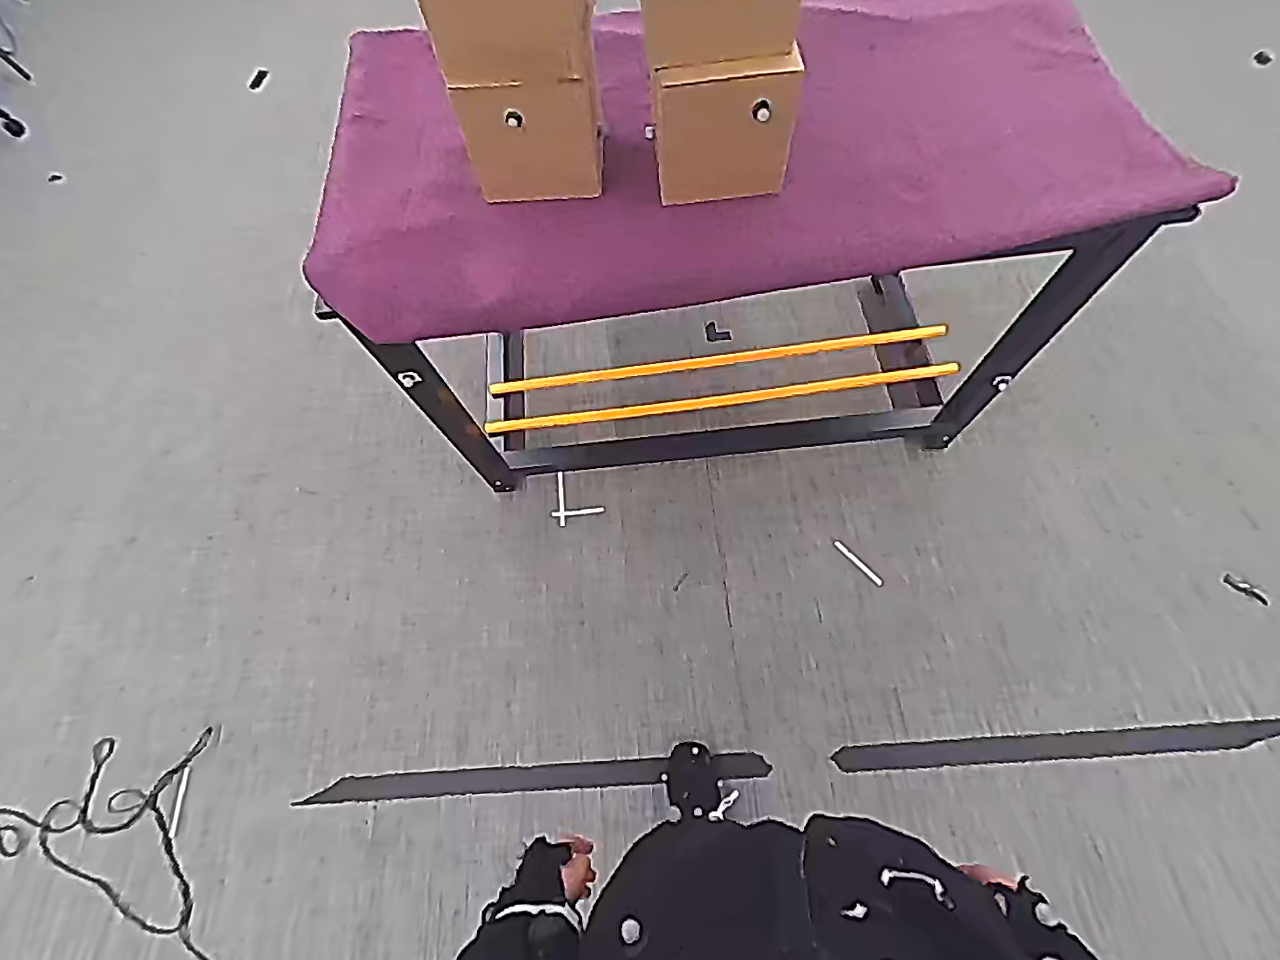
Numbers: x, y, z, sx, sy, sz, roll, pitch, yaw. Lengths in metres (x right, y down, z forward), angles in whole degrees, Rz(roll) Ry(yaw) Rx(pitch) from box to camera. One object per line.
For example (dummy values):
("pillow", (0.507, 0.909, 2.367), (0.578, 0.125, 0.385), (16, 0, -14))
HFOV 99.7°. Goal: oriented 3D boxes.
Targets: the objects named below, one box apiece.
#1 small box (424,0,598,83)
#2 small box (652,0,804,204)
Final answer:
("small box", (-0.149, -0.597, 0.626), (0.179, 0.176, 0.168), (2, 67, 5))
("small box", (0.110, -0.514, 0.750), (0.179, 0.176, 0.168), (-5, 66, 2))
